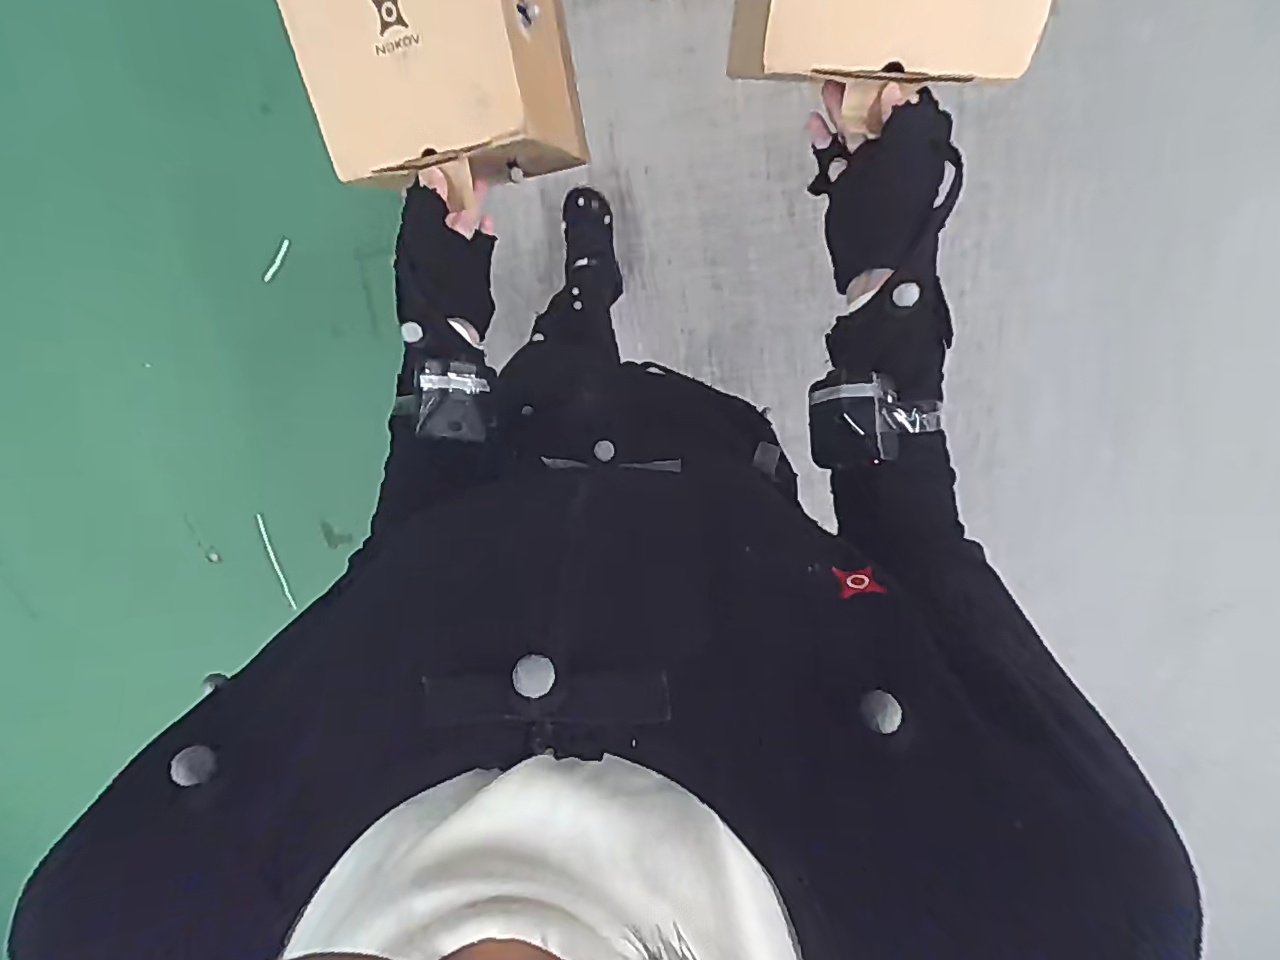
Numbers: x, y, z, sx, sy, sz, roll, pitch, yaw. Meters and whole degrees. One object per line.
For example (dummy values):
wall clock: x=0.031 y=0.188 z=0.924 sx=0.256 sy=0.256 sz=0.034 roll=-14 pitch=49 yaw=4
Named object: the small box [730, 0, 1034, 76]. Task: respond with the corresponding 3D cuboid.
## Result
small box: x=0.158 y=-0.380 z=0.356 sx=0.168 sy=0.176 sz=0.179 roll=2 pitch=126 yaw=-2
